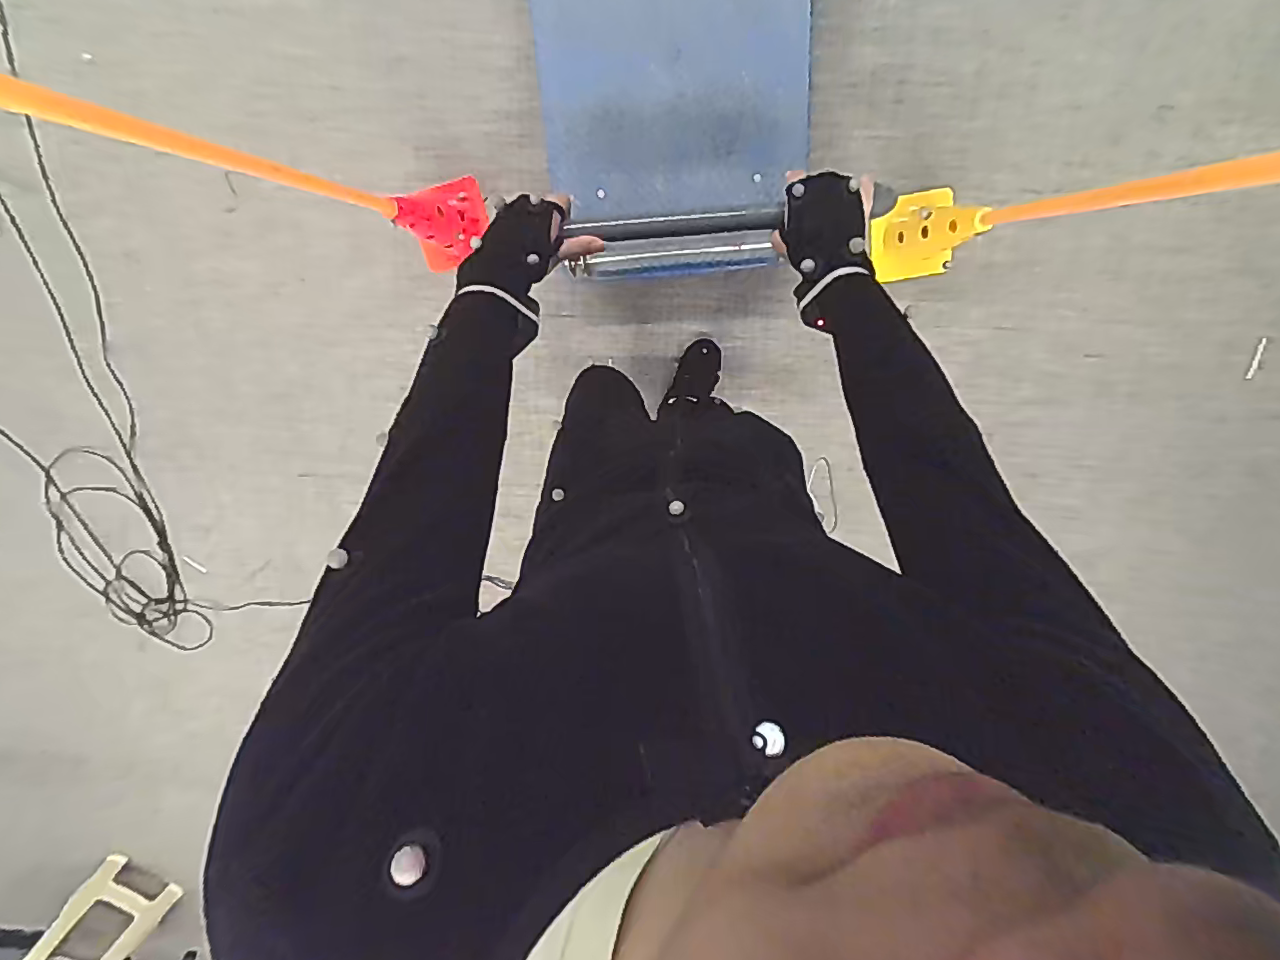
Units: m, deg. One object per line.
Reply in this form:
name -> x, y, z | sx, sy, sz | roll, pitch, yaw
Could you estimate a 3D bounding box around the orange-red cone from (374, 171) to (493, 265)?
orange-red cone -> -0.505, -0.619, 1.244 | 0.199, 0.360, 0.198 | -11, 109, 8
